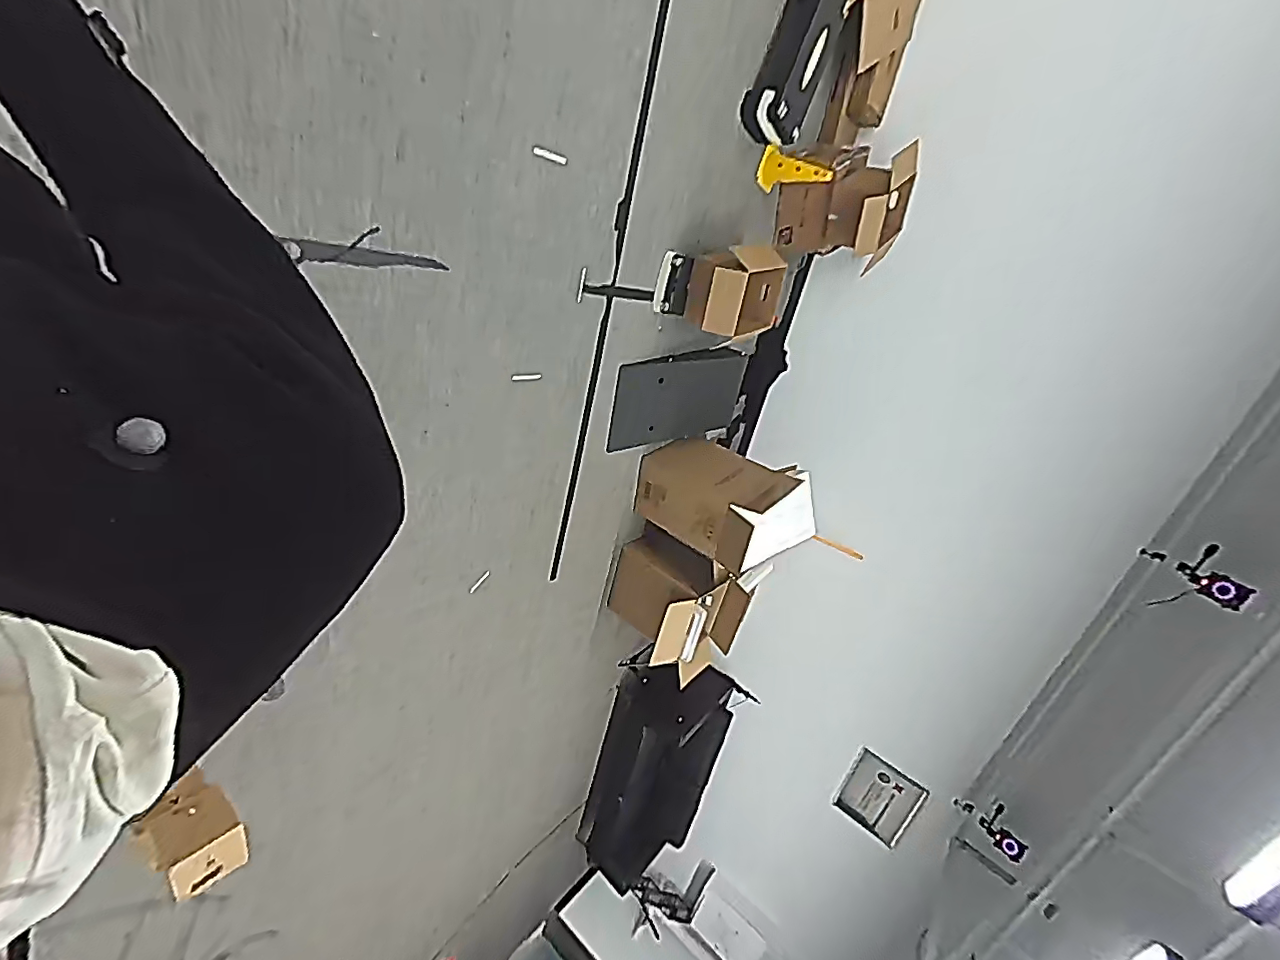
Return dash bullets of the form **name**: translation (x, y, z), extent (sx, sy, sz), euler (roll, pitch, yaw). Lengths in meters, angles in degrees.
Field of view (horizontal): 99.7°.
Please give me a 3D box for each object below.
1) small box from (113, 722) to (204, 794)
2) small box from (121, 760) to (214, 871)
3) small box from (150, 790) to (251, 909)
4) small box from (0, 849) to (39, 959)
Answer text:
- **small box**: translation (-1.461, 0.885, 1.650), extent (0.168, 0.176, 0.179), euler (-23, 133, -48)
- **small box**: translation (-1.344, 0.960, 1.562), extent (0.179, 0.176, 0.168), euler (-25, 135, -47)
- **small box**: translation (-1.203, 1.005, 1.484), extent (0.168, 0.176, 0.179), euler (-22, 132, -51)
- **small box**: translation (-1.568, 1.029, 1.272), extent (0.179, 0.176, 0.168), euler (-12, 125, -53)
